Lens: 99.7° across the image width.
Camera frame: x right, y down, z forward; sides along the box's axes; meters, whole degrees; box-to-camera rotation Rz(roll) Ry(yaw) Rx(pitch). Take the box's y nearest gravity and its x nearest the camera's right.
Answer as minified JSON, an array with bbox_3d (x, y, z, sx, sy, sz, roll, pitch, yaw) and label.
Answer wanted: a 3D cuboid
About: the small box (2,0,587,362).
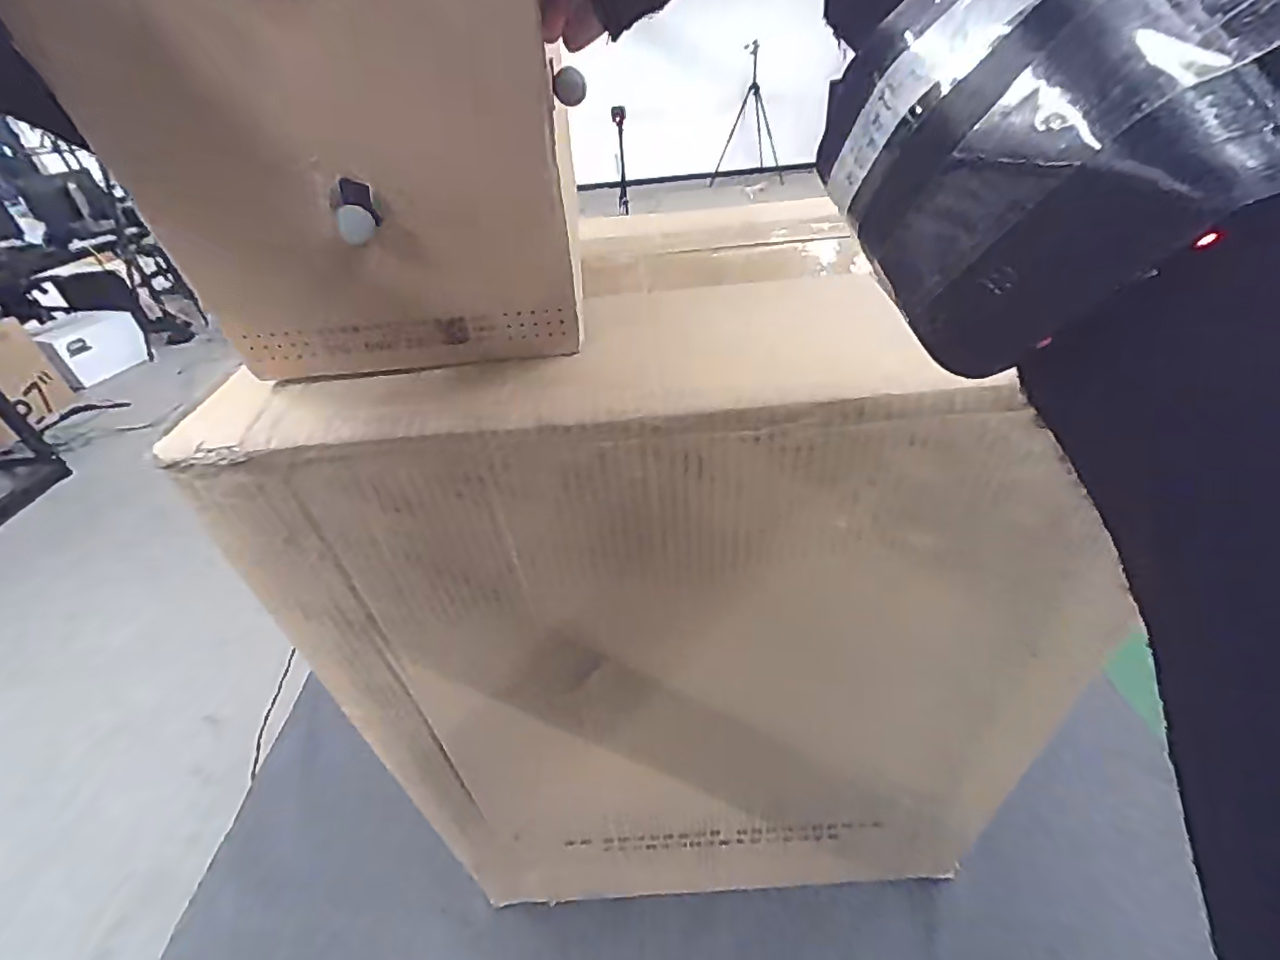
[{"bbox_3d":[-0.117,-0.173,0.271,0.168,0.176,0.179,-5,49,-3],"label":"small box"}]
